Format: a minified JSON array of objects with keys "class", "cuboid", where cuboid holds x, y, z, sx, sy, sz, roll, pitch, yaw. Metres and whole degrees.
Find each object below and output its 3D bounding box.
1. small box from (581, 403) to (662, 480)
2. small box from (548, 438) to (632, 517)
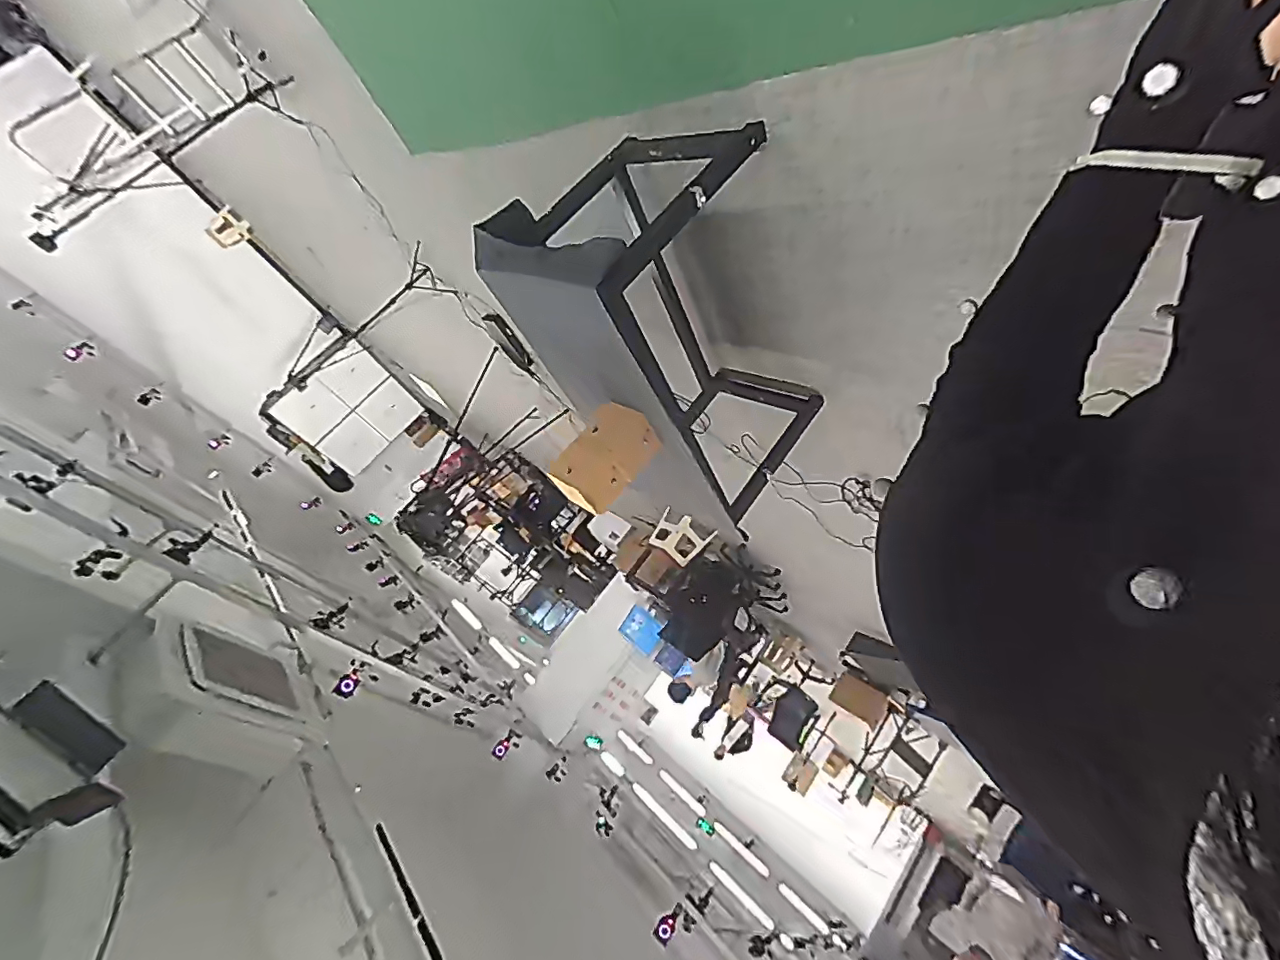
[{"class":"small box","cuboid":[-0.058,-0.136,1.806,0.179,0.176,0.168,26,161,41]},{"class":"small box","cuboid":[-0.160,-0.015,1.769,0.179,0.176,0.168,25,160,41]}]
